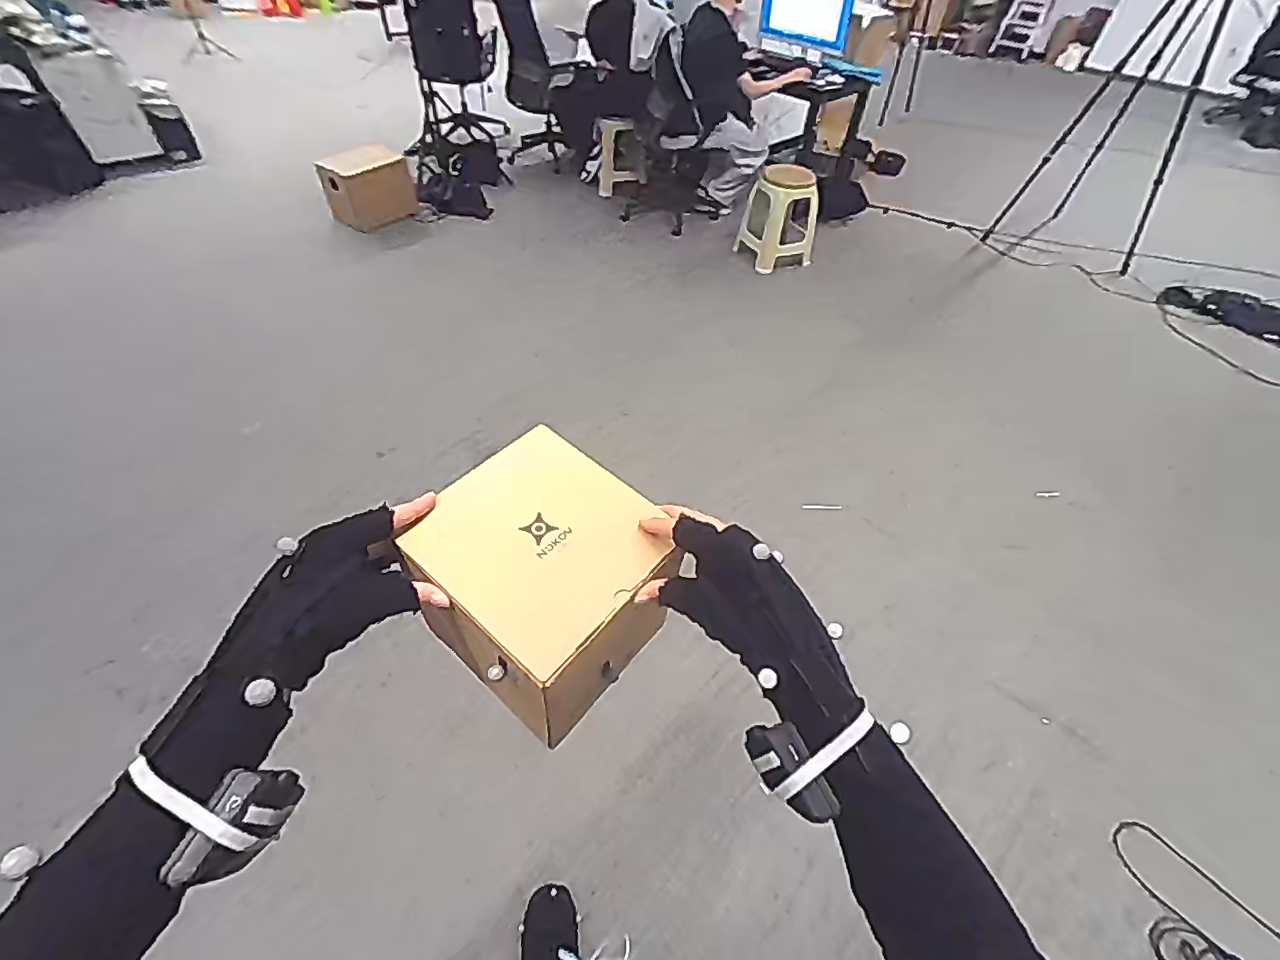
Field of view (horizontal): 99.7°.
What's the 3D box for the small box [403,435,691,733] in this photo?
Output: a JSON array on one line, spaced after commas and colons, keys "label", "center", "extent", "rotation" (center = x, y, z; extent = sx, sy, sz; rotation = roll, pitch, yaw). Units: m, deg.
[{"label": "small box", "center": [-0.083, 0.097, 0.498], "extent": [0.179, 0.176, 0.168], "rotation": [36, 55, 20]}]
